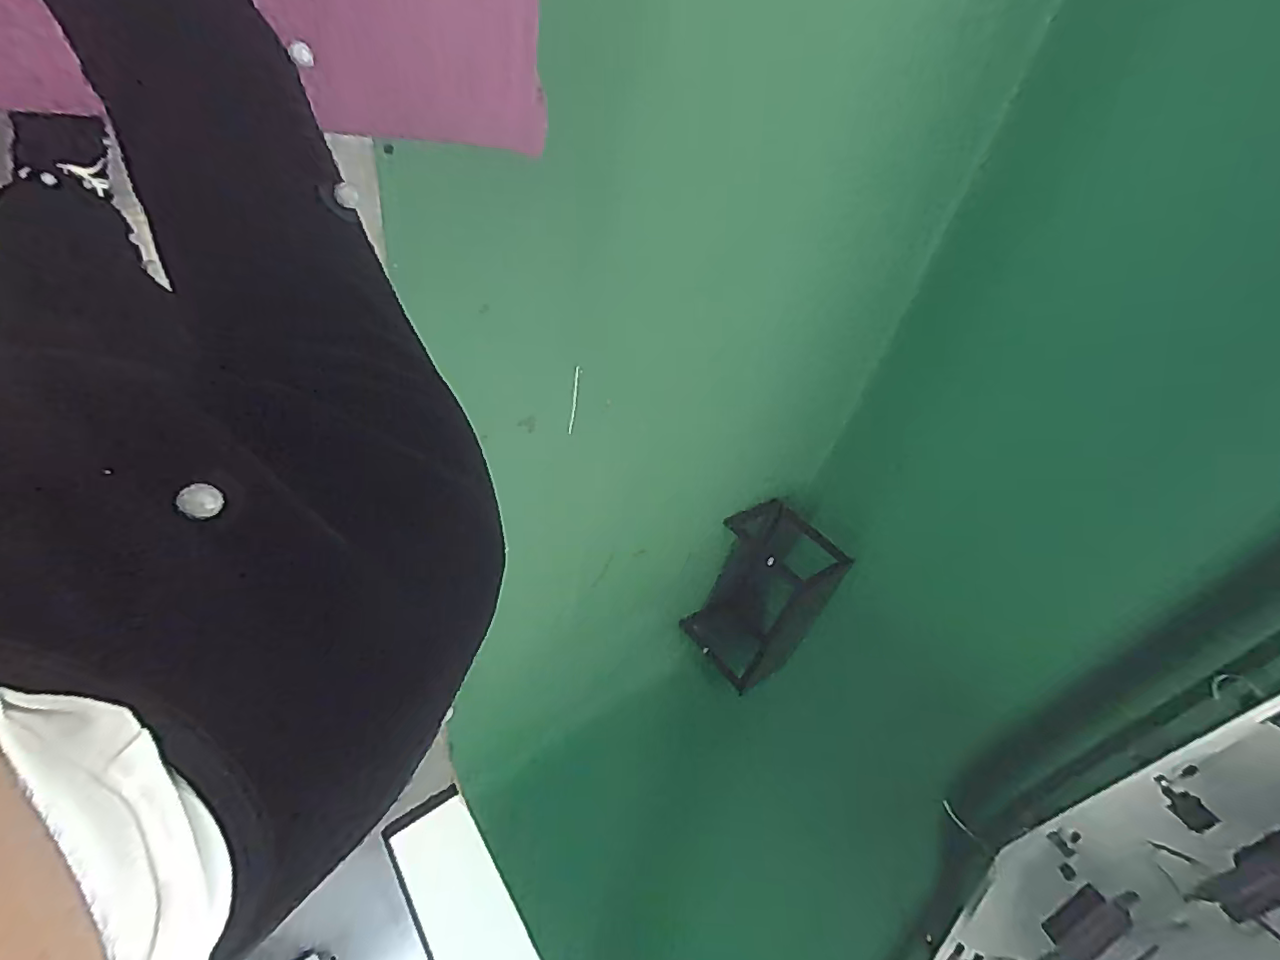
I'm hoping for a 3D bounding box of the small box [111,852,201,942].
[{"bbox_3d":[-1.459,1.274,1.634,0.168,0.176,0.179,-17,138,-39],"label":"small box"}]
